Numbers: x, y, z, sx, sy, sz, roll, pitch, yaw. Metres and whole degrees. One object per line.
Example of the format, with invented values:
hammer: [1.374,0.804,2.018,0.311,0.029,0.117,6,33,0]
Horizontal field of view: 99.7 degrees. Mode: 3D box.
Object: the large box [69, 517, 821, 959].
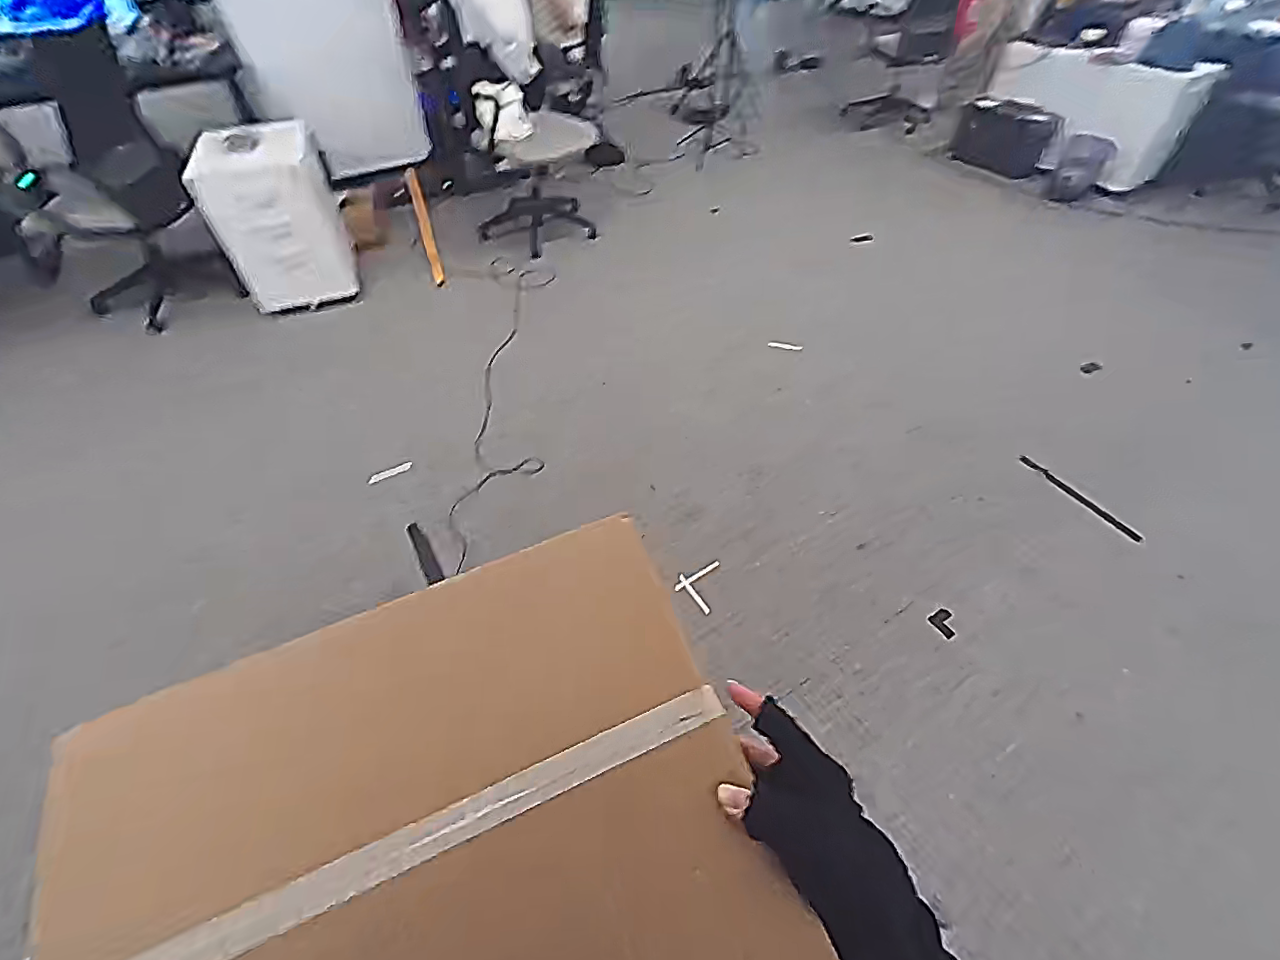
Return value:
large box: [-0.134,0.296,0.461,0.408,0.320,0.320,-22,62,-10]
